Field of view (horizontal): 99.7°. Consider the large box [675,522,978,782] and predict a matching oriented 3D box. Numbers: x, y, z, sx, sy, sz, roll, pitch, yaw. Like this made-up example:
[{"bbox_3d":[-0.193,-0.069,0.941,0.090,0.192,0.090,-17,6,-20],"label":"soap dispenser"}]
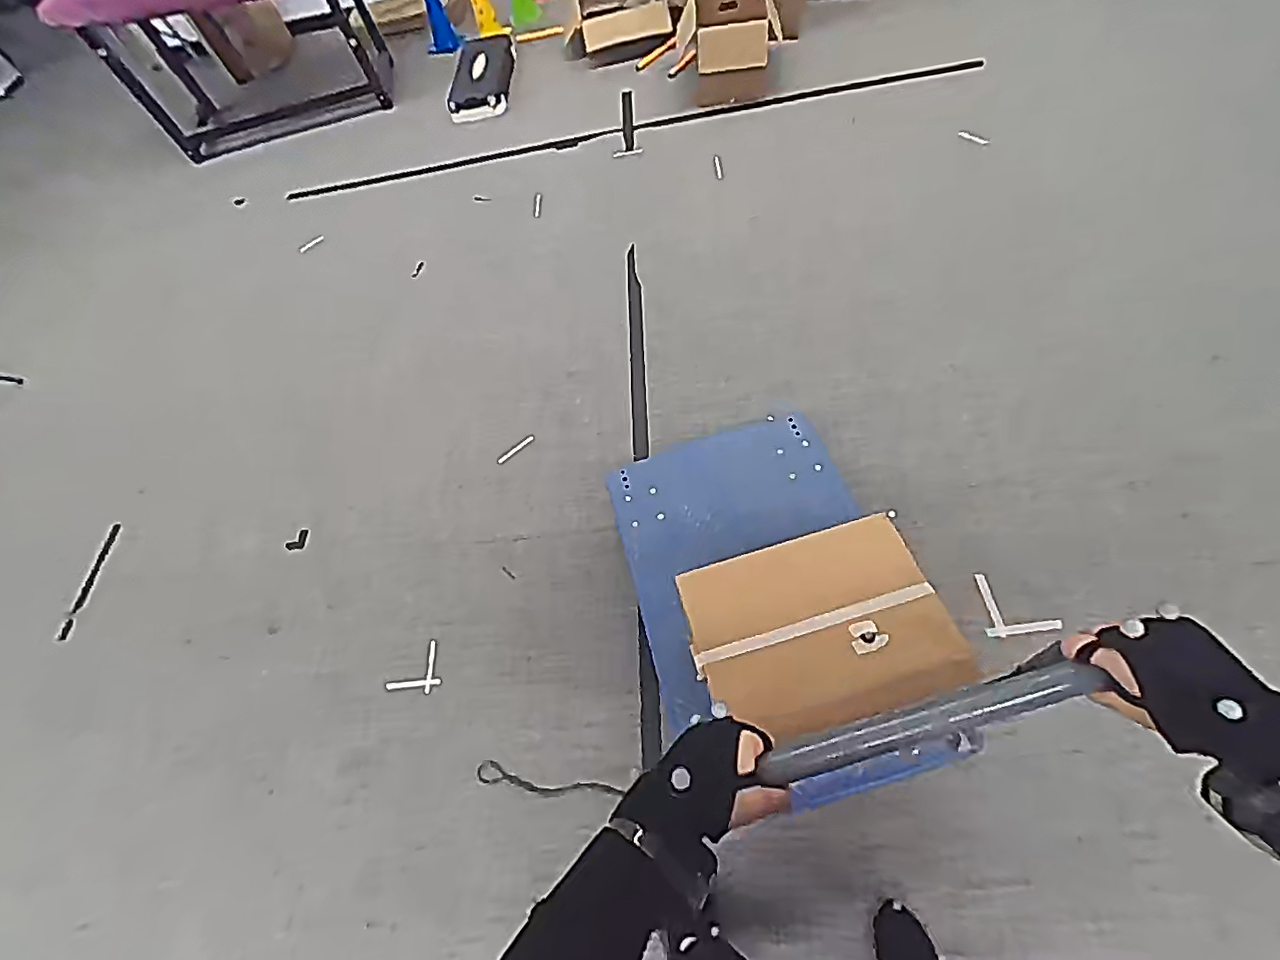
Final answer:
[{"bbox_3d":[0.309,0.333,1.016,0.408,0.320,0.320,-16,57,0],"label":"large box"}]
